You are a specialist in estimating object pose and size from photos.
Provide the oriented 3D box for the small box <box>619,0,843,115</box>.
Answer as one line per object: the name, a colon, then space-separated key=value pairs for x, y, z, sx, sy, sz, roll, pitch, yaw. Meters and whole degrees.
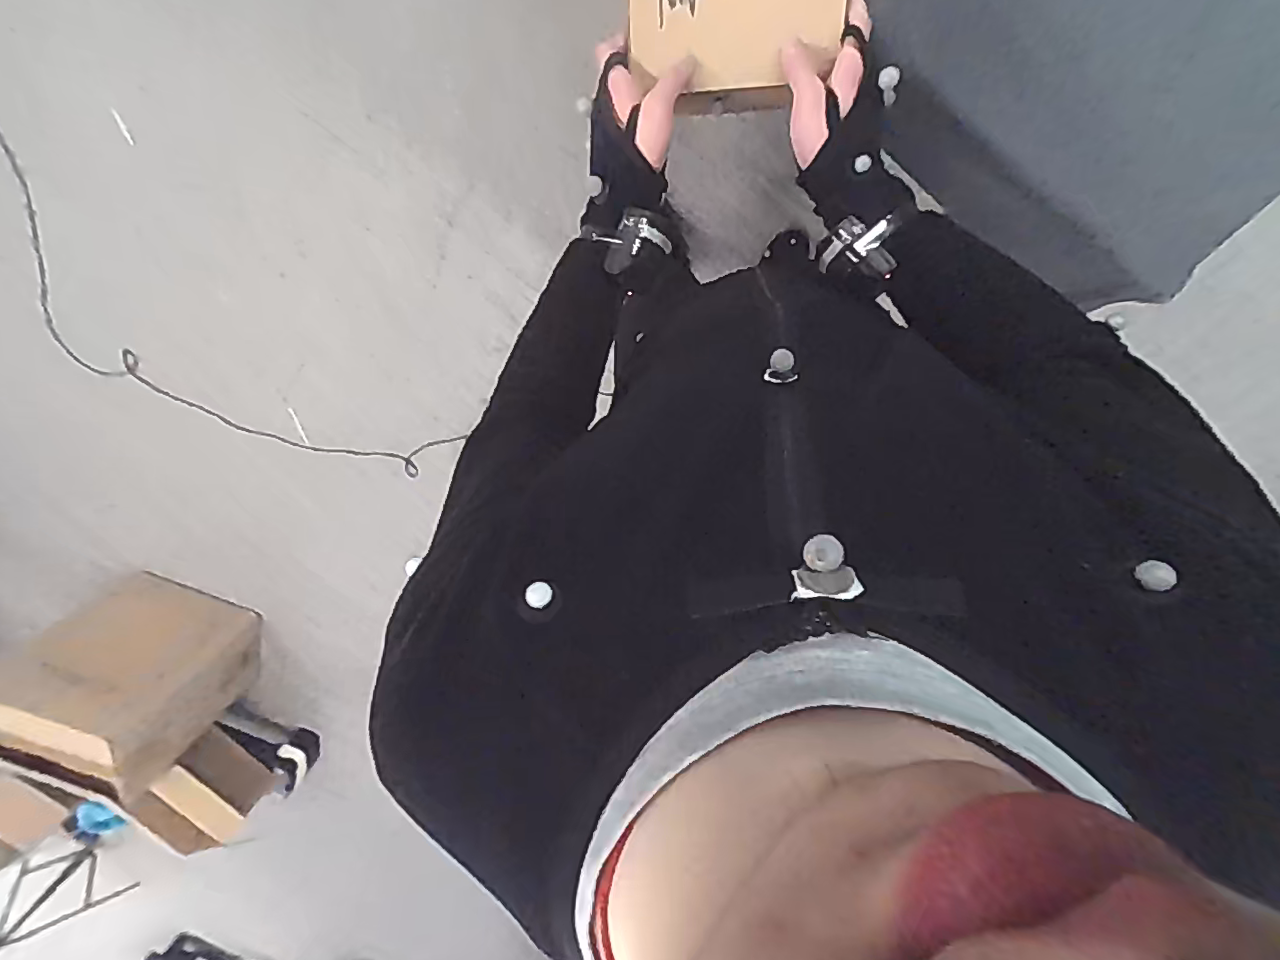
small box: x=0.080 y=-0.434 z=0.479 sx=0.179 sy=0.176 sz=0.168 roll=2 pitch=118 yaw=8
